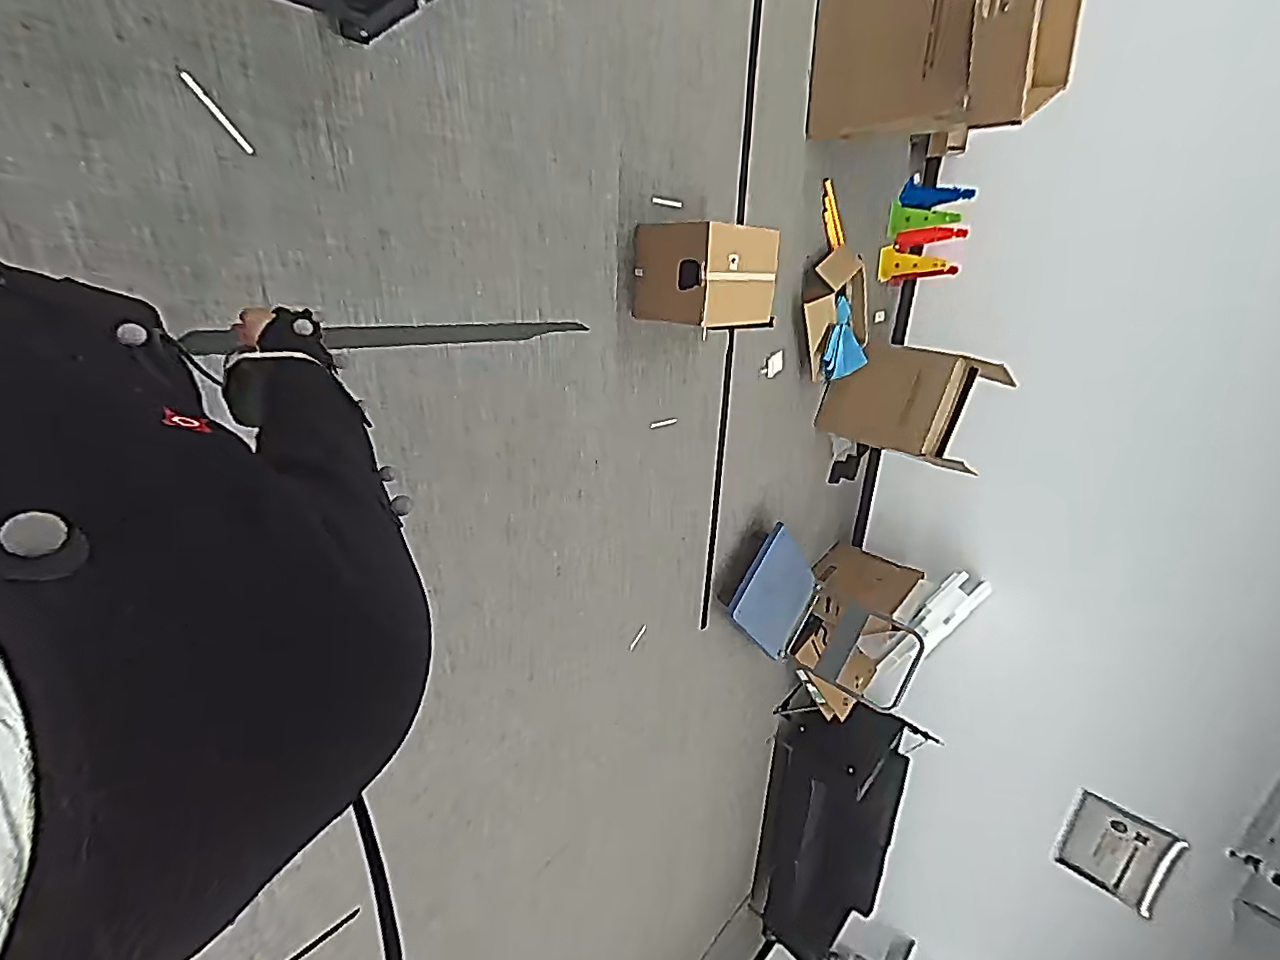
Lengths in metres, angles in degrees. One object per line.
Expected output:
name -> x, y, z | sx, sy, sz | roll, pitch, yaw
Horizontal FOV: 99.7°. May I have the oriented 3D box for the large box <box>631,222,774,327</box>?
large box -> 0.217, -0.723, 1.893 | 0.408, 0.320, 0.320 | -19, 119, -42
